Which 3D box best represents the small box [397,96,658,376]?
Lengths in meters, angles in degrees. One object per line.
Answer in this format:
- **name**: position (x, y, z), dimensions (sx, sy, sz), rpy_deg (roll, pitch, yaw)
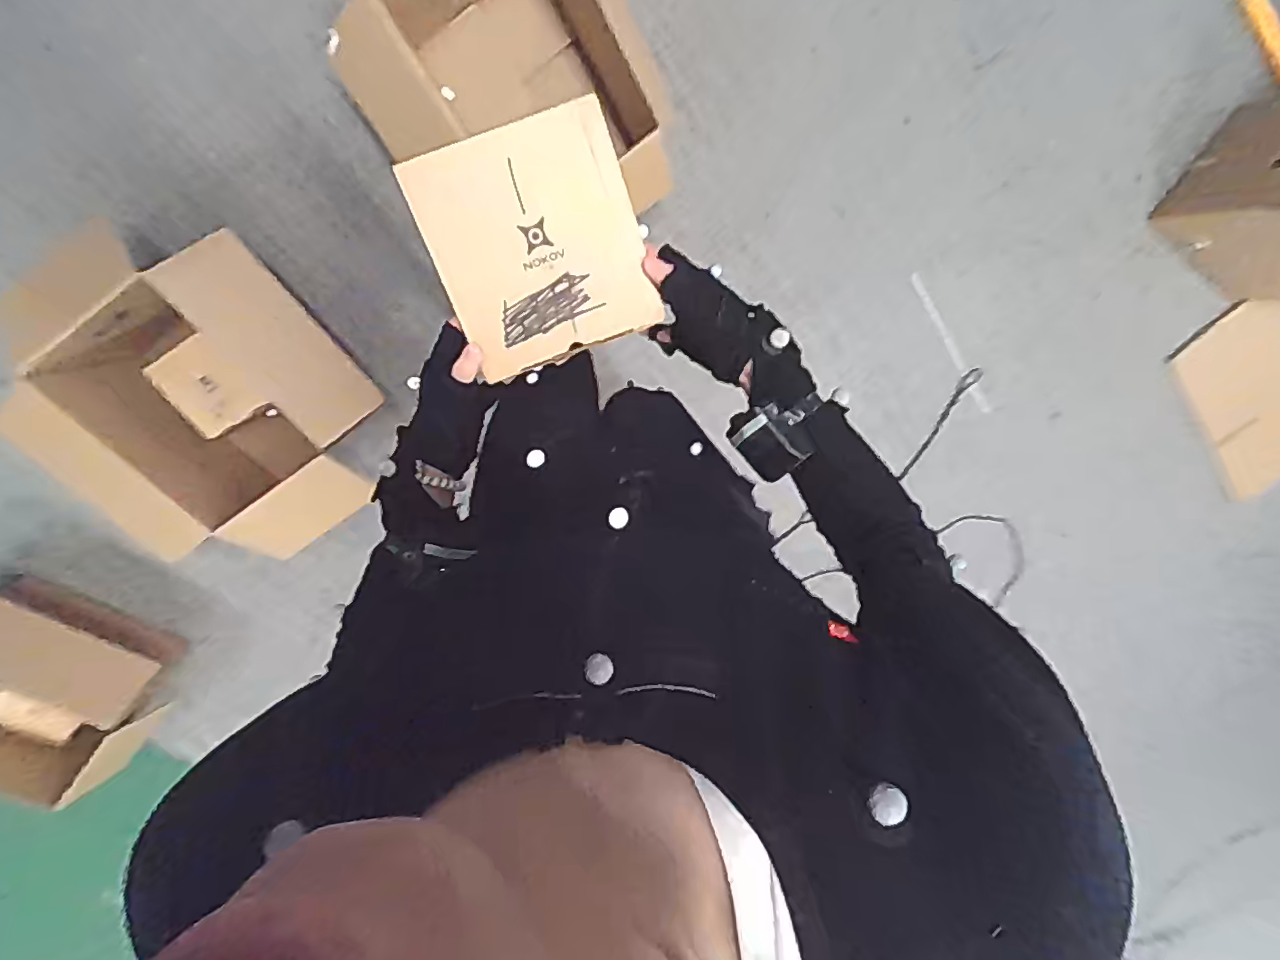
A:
- **small box**: position (-0.092, -0.214, 0.511), dimensions (0.168, 0.176, 0.179), rpy_deg (-19, 107, -1)
